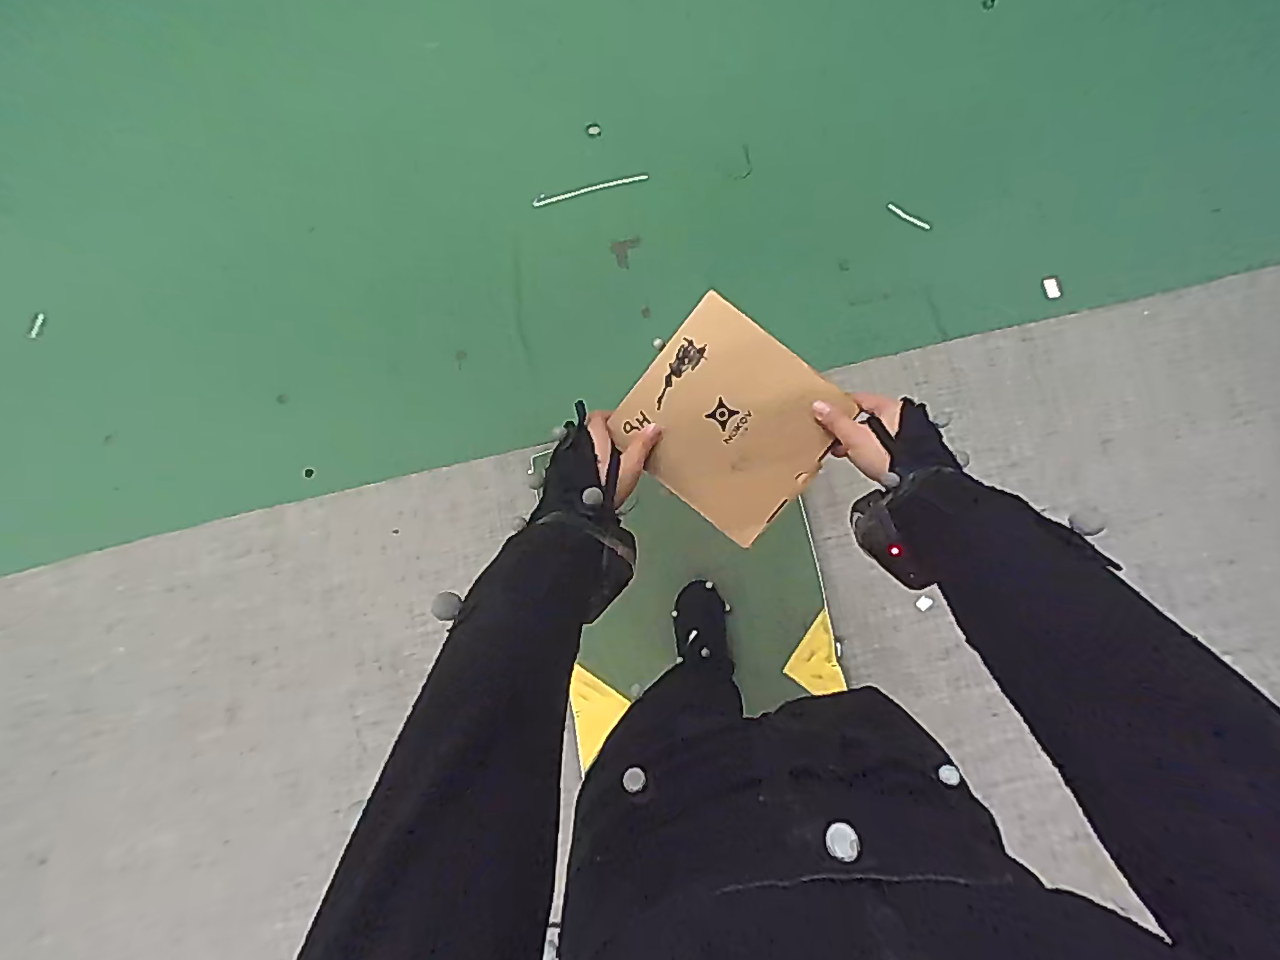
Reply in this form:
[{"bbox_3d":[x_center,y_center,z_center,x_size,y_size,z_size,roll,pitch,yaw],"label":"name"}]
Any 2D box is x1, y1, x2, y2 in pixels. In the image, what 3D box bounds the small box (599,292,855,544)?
[{"bbox_3d":[0.082,-0.060,0.570,0.179,0.176,0.168,39,93,0],"label":"small box"}]
